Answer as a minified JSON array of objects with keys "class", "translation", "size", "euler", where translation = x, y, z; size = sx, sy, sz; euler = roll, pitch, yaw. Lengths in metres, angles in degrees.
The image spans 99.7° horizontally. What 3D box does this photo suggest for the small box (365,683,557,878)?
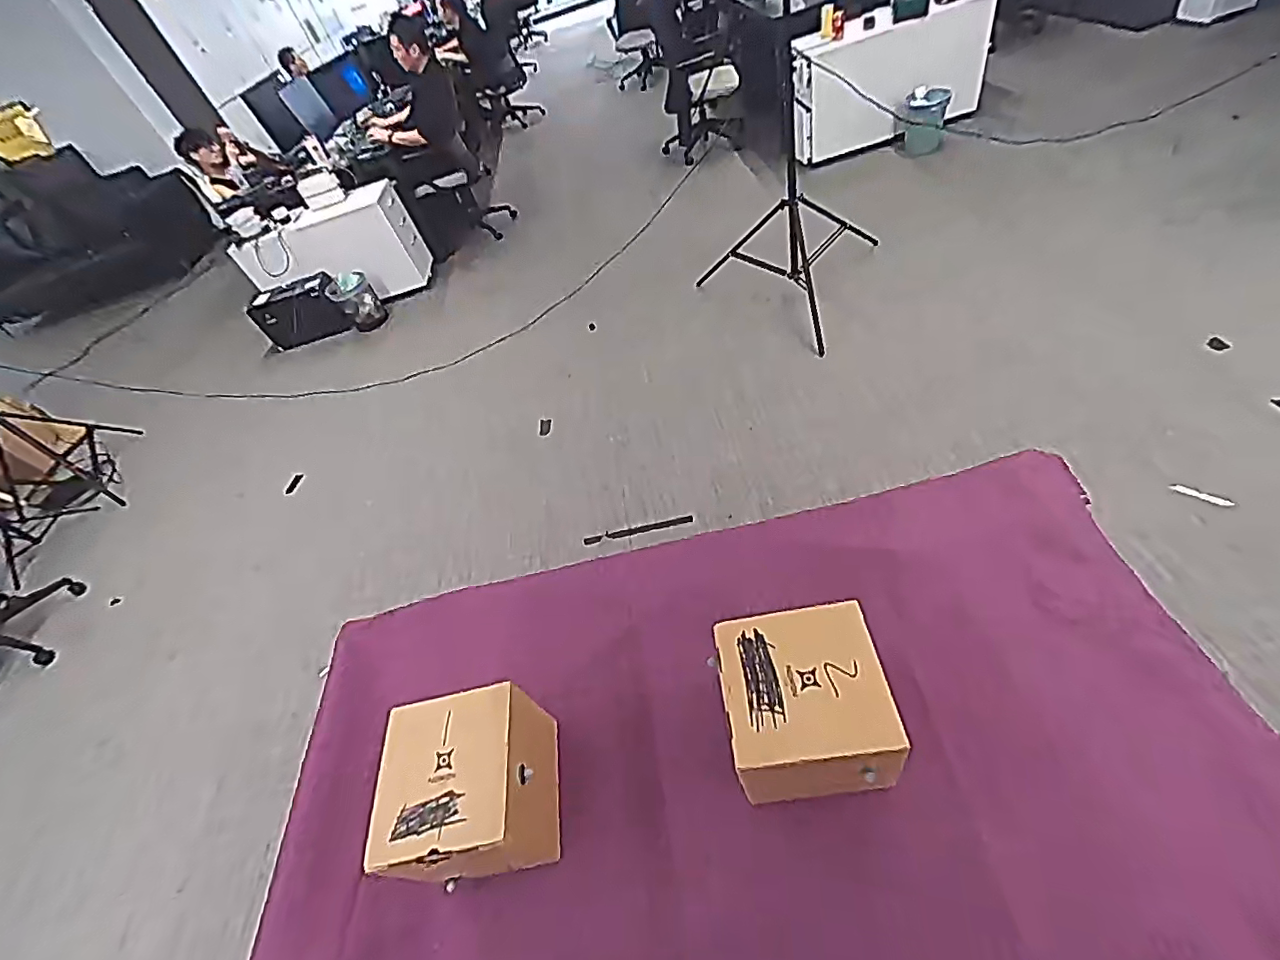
[{"class":"small box","translation":[-0.211,0.388,0.690],"size":[0.168,0.176,0.179],"euler":[-15,47,5]}]
